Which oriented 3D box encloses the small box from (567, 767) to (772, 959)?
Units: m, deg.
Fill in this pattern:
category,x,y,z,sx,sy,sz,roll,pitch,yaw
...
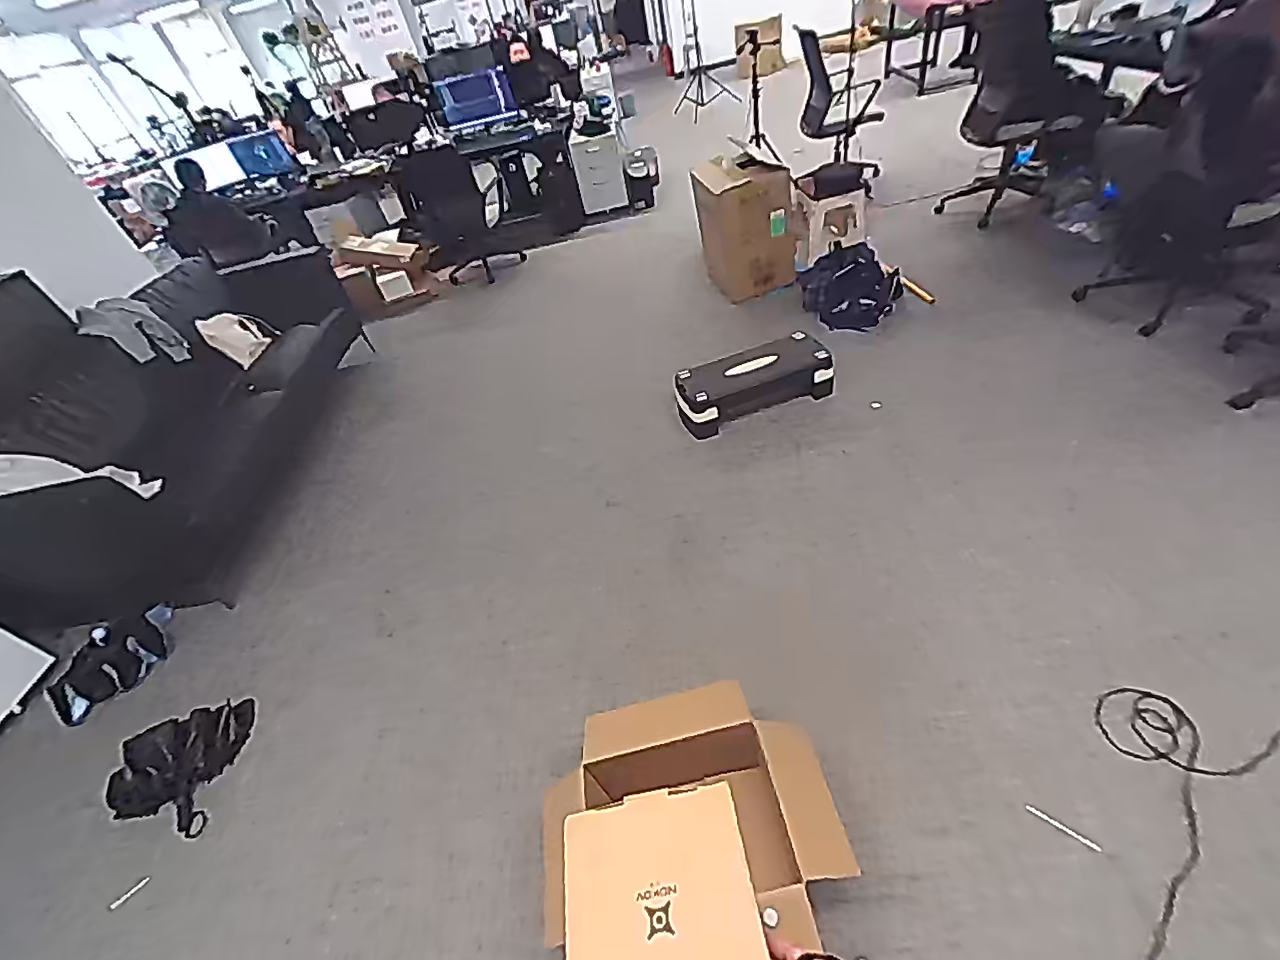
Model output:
category,x,y,z,sx,sy,sz,roll,pitch,yaw
small box,0.032,0.413,0.520,0.168,0.176,0.179,-13,40,3
